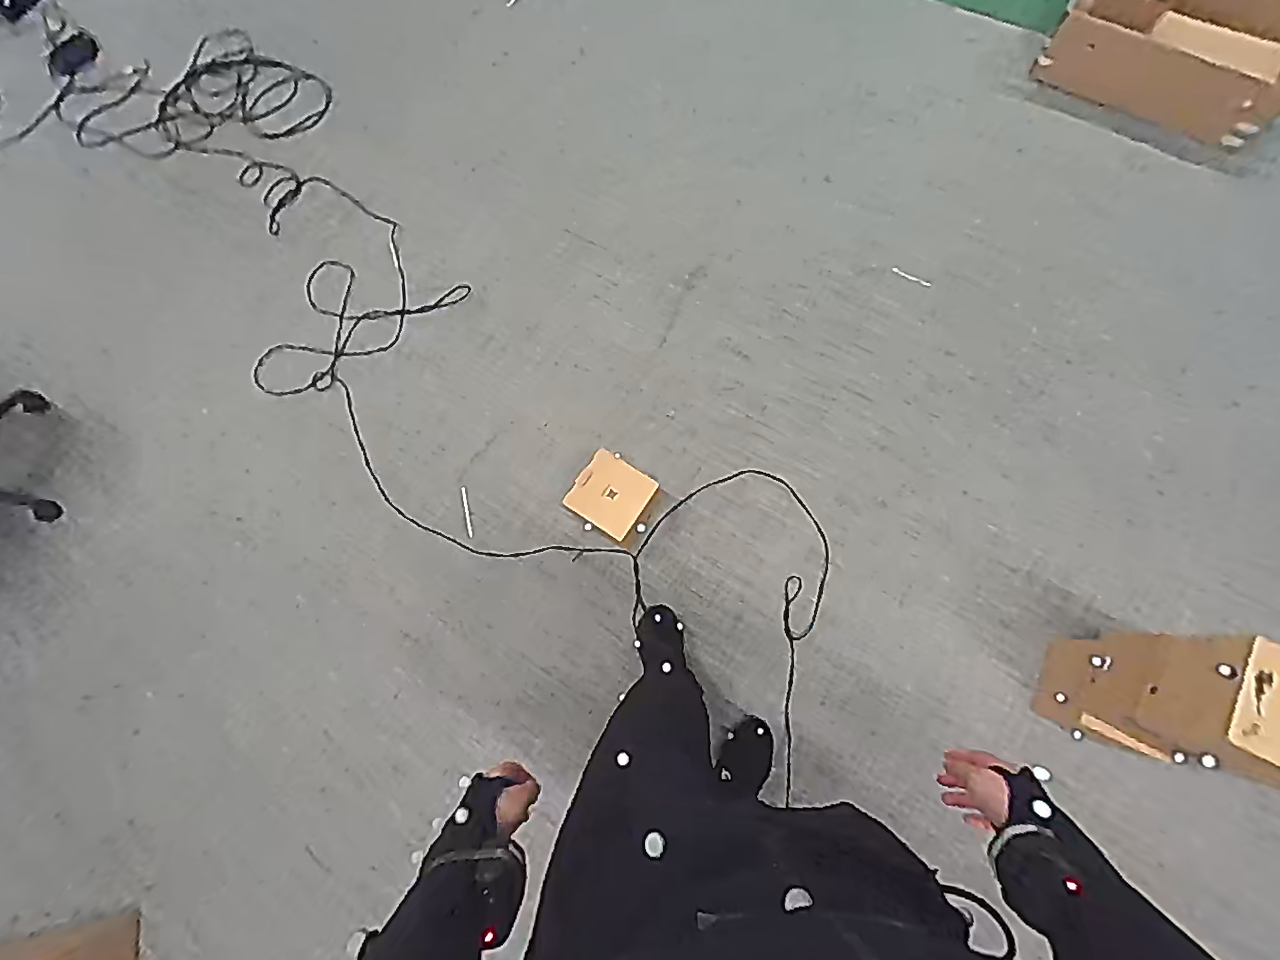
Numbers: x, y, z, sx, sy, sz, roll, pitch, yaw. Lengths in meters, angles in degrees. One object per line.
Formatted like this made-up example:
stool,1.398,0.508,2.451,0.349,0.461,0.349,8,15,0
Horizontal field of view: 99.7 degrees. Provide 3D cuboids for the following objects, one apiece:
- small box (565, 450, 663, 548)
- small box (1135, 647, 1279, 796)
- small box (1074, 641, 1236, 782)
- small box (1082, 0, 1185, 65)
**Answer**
small box,-0.054,0.055,1.345,0.179,0.176,0.168,32,79,13
small box,0.941,0.369,0.835,0.179,0.176,0.168,29,78,11
small box,0.964,0.410,0.992,0.179,0.176,0.168,29,78,13
small box,1.422,-1.348,1.542,0.168,0.176,0.179,30,80,12
